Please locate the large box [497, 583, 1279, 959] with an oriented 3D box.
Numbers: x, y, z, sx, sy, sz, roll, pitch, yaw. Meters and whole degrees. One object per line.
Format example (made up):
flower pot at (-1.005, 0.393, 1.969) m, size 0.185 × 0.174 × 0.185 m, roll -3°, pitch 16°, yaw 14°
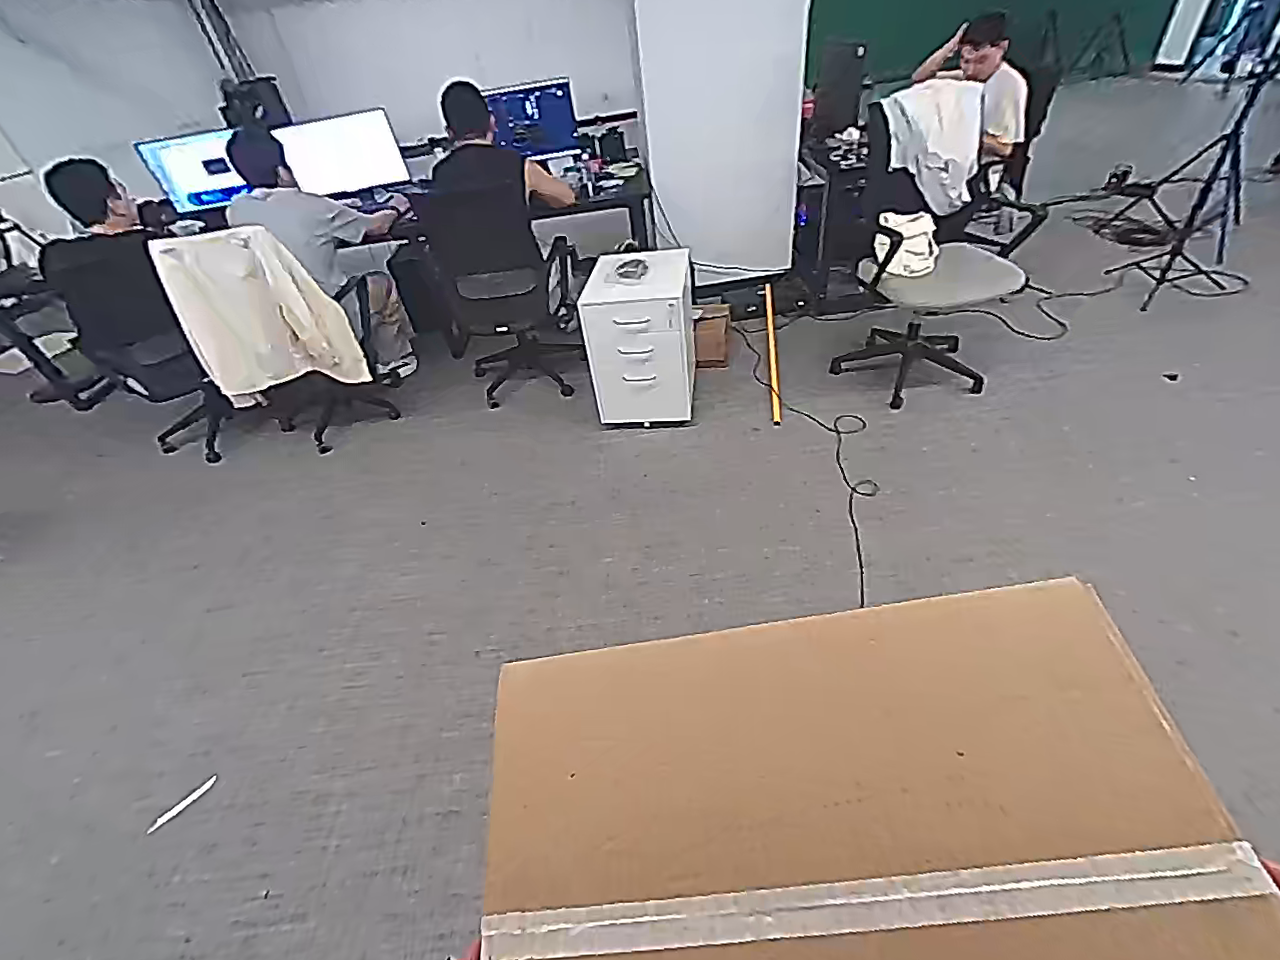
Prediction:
large box at (0.142, 0.311, 0.418) m, size 0.408 × 0.320 × 0.320 m, roll -11°, pitch 54°, yaw 8°
